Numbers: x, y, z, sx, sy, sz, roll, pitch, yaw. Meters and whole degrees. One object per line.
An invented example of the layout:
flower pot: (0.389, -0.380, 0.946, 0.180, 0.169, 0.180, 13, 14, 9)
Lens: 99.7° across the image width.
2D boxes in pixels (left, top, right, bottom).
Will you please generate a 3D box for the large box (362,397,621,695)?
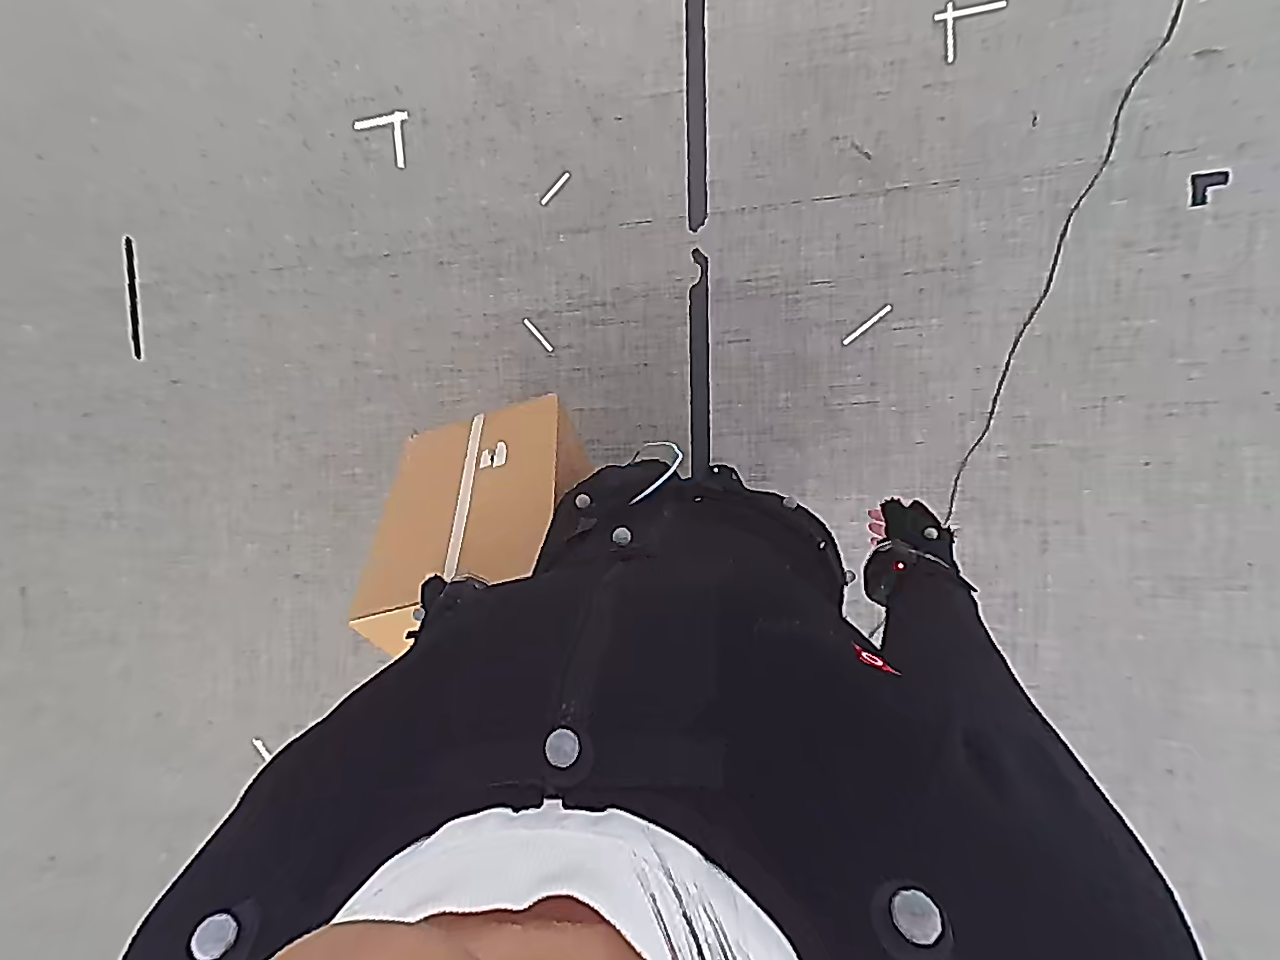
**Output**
large box: (-0.234, 0.118, 0.996, 0.320, 0.320, 0.408, -14, 45, 7)
